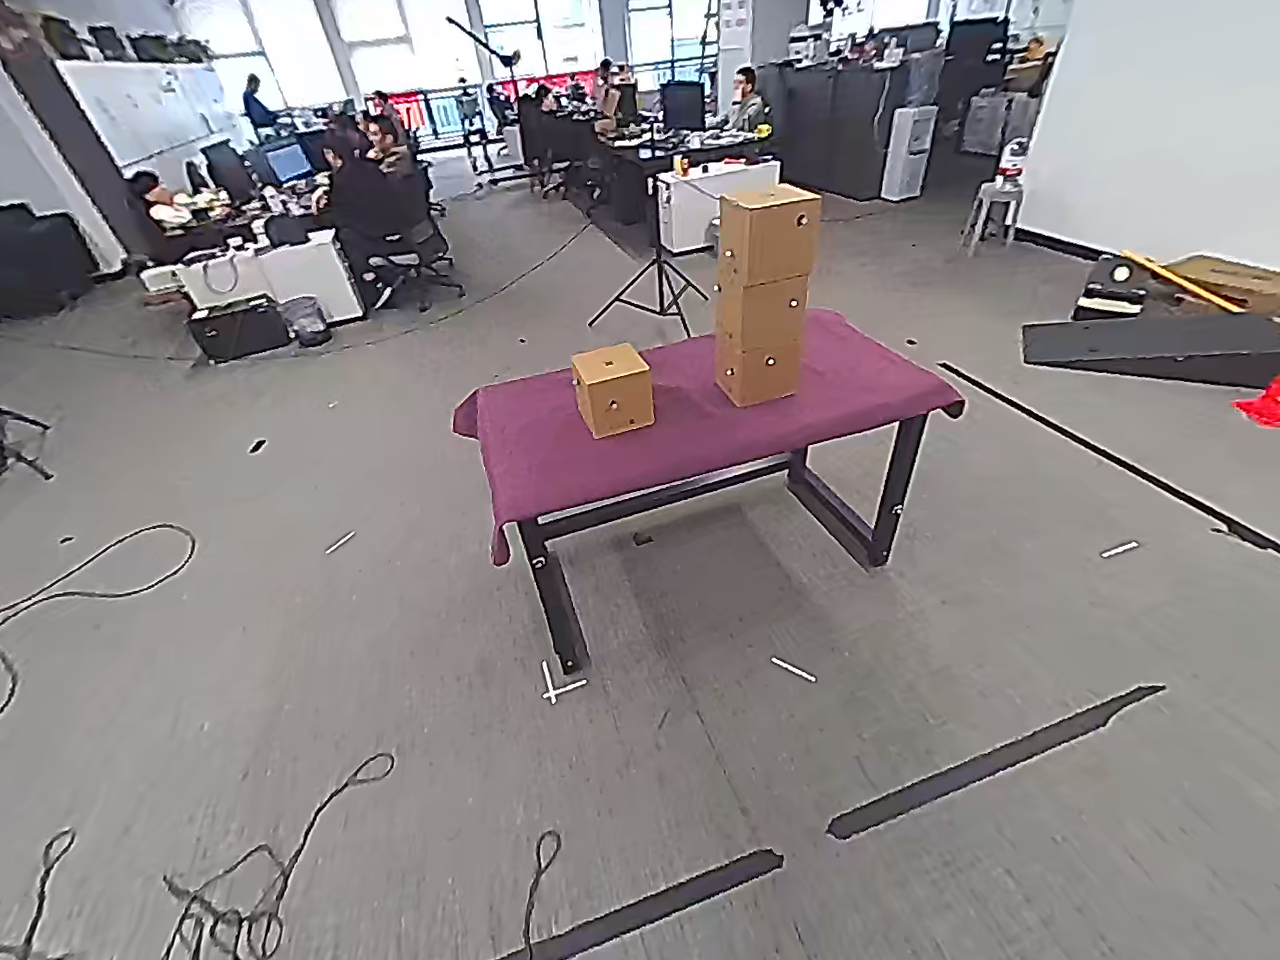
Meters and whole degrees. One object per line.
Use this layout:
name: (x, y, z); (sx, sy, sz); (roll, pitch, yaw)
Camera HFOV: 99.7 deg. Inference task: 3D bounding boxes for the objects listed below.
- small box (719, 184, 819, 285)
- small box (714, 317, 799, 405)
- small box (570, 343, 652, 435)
small box: (0.295, -0.580, 1.277); (0.179, 0.176, 0.168); (-15, 40, -10)
small box: (0.316, -0.325, 1.485); (0.179, 0.176, 0.168); (-14, 40, -10)
small box: (-0.074, -0.236, 1.435); (0.168, 0.176, 0.179); (-17, 39, -12)
